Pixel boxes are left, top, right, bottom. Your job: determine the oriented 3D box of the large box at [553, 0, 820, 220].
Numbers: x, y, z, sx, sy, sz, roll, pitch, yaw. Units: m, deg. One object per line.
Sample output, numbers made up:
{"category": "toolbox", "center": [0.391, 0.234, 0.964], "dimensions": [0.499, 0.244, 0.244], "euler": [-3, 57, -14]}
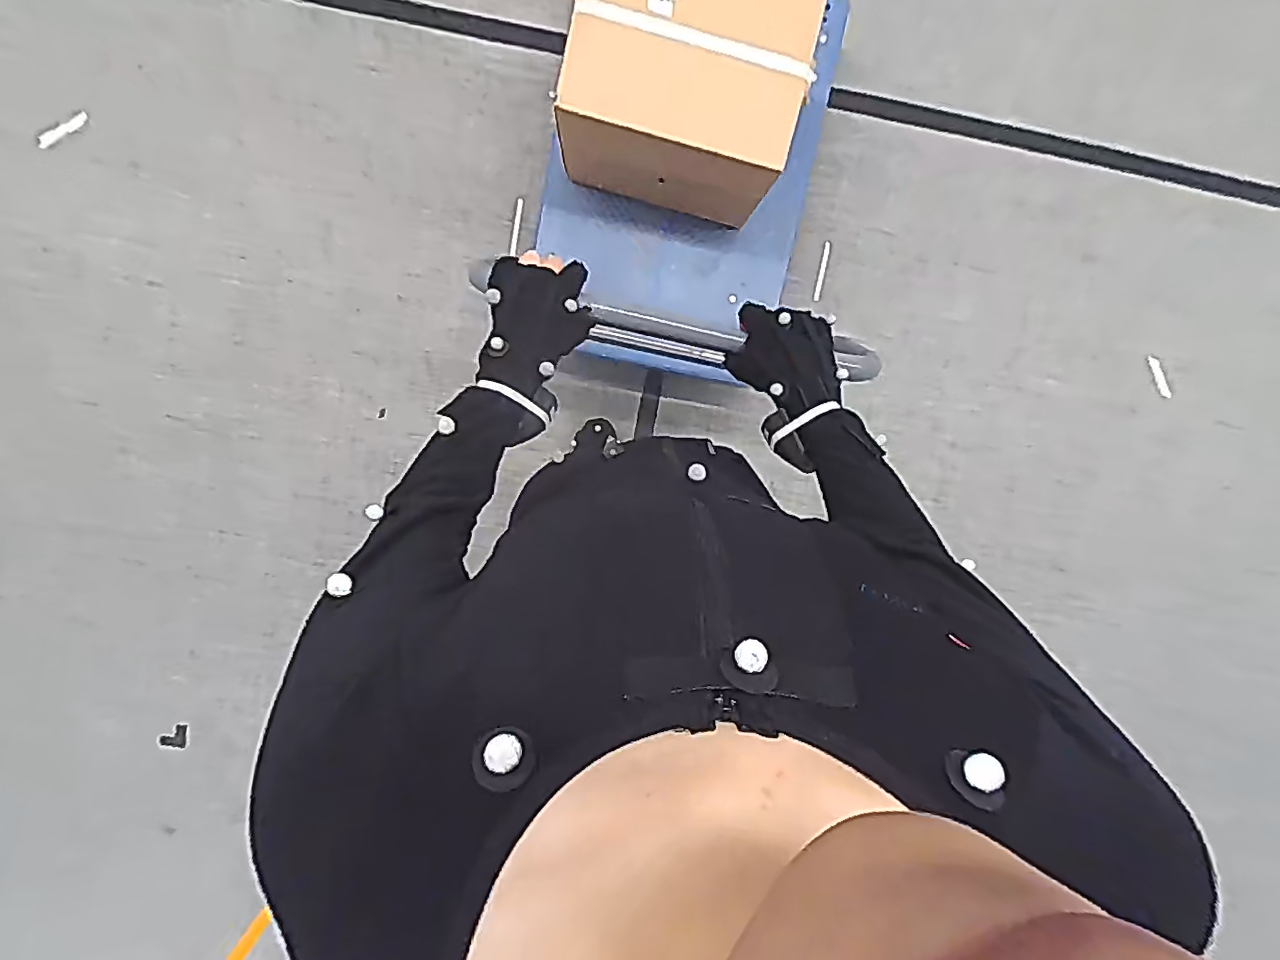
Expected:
{"category": "large box", "center": [0.076, -0.748, 1.044], "dimensions": [0.408, 0.320, 0.320], "euler": [13, 97, -4]}
